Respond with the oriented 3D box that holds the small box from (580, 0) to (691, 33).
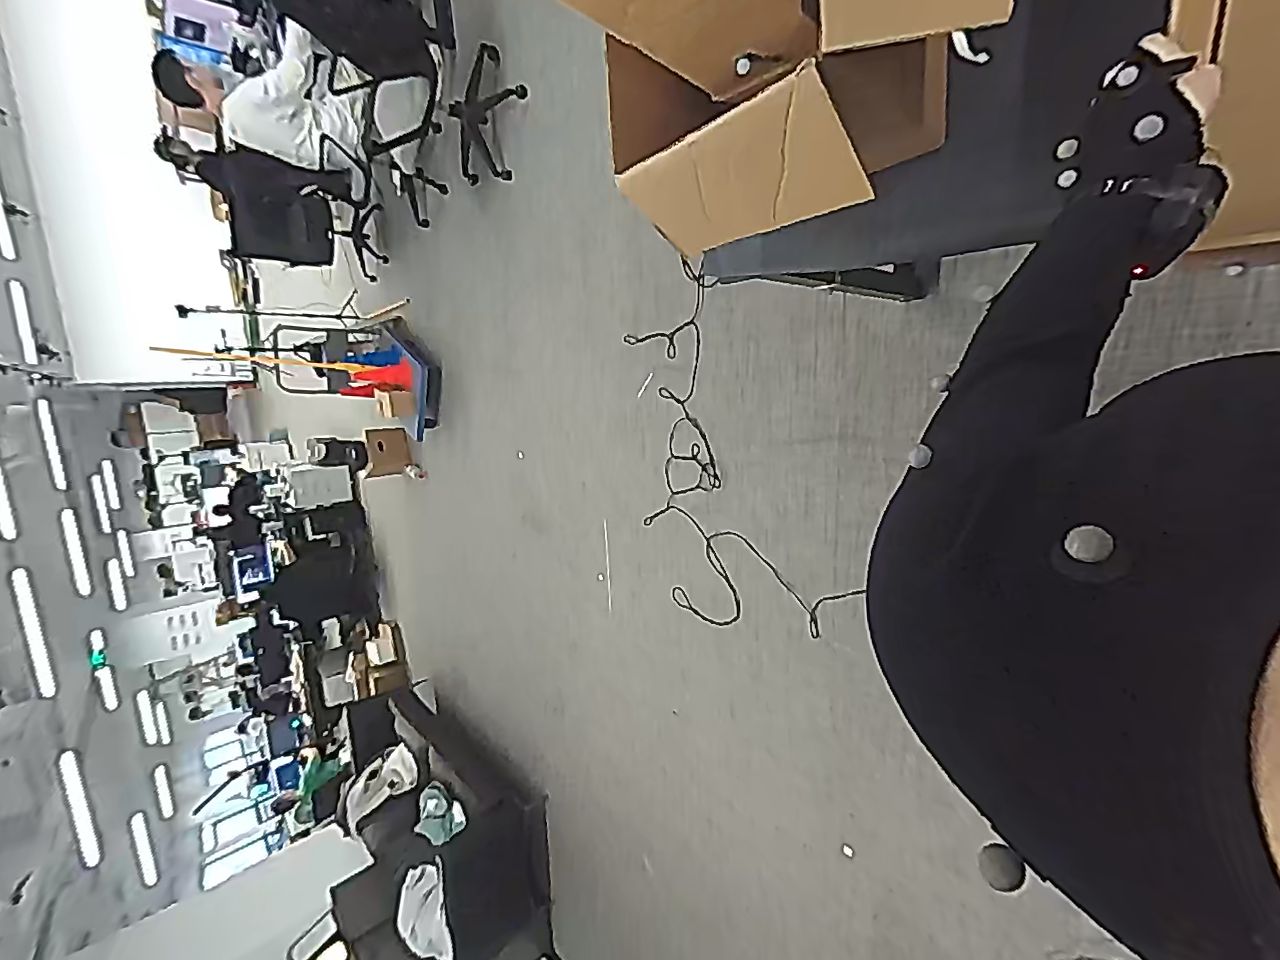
[{"bbox_3d":[-0.005,-0.556,0.483,0.179,0.176,0.168,8,104,43],"label":"small box"}]
